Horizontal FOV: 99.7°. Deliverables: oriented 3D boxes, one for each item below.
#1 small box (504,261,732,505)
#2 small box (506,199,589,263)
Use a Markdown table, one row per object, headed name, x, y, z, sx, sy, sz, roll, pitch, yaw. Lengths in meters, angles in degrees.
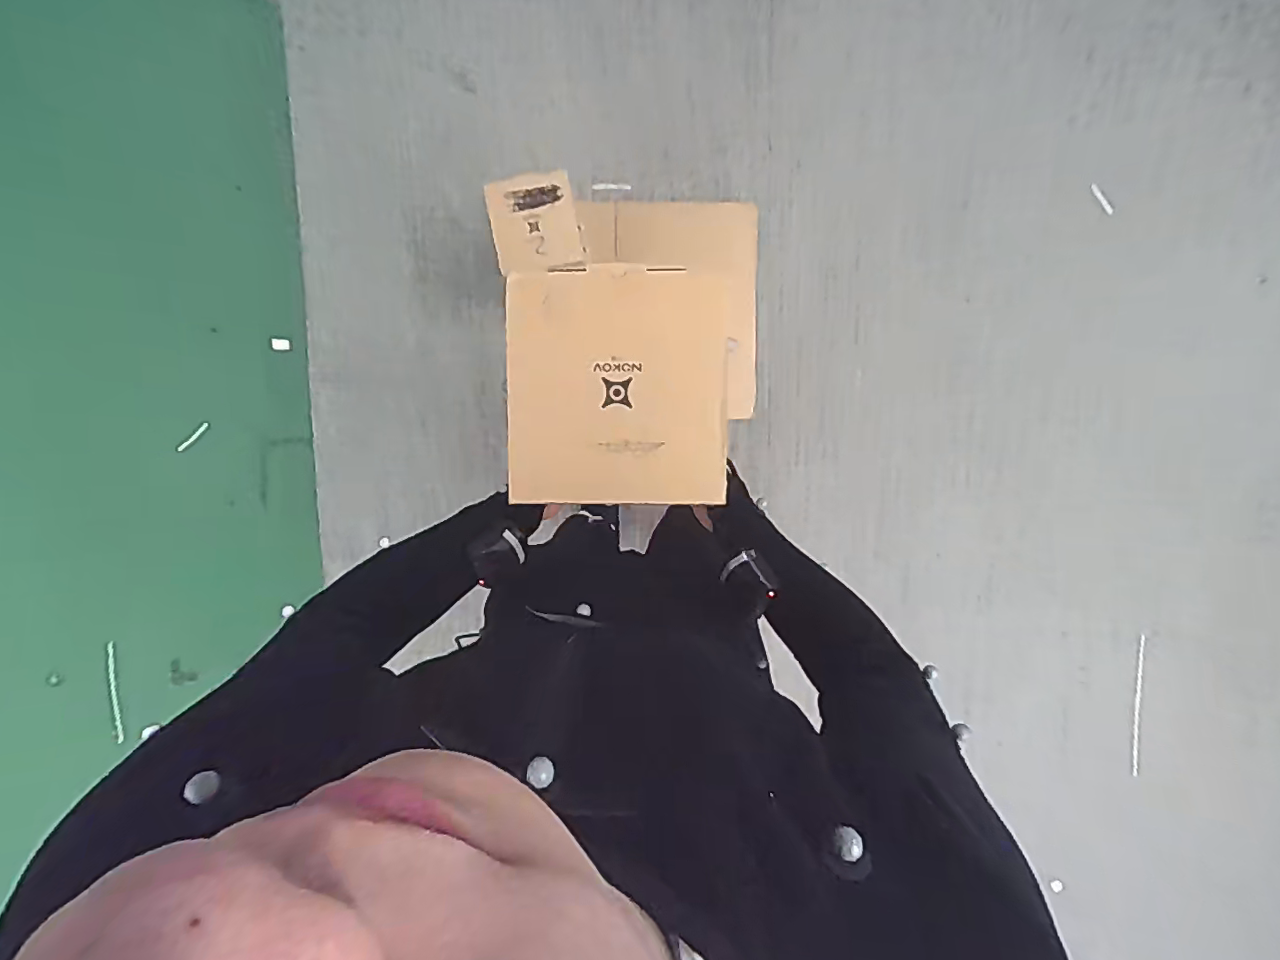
| name | x | y | z | sx | sy | sz | roll | pitch | yaw |
| --- | --- | --- | --- | --- | --- | --- | --- | --- | --- |
| small box | -0.015 | -0.075 | 0.472 | 0.168 | 0.176 | 0.179 | 1 | 95 | 2 |
| small box | -0.207 | -0.534 | 1.280 | 0.168 | 0.176 | 0.179 | -7 | 95 | -1 |
